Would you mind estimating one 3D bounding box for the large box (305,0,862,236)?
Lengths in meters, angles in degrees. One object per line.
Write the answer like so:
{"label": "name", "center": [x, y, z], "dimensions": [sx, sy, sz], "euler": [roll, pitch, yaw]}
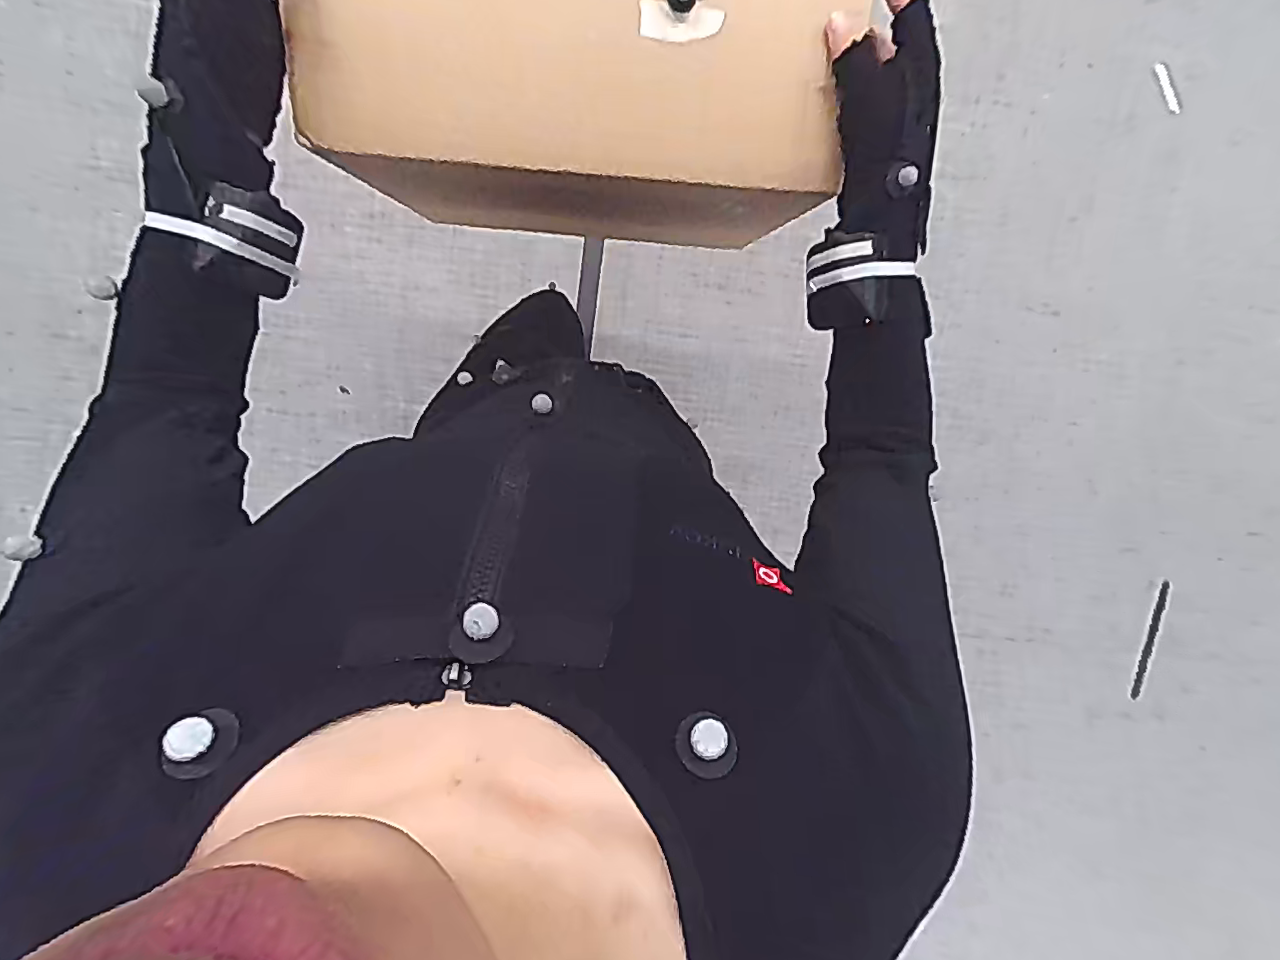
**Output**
{"label": "large box", "center": [-0.044, -0.431, 0.515], "dimensions": [0.408, 0.320, 0.320], "euler": [2, 107, -5]}
